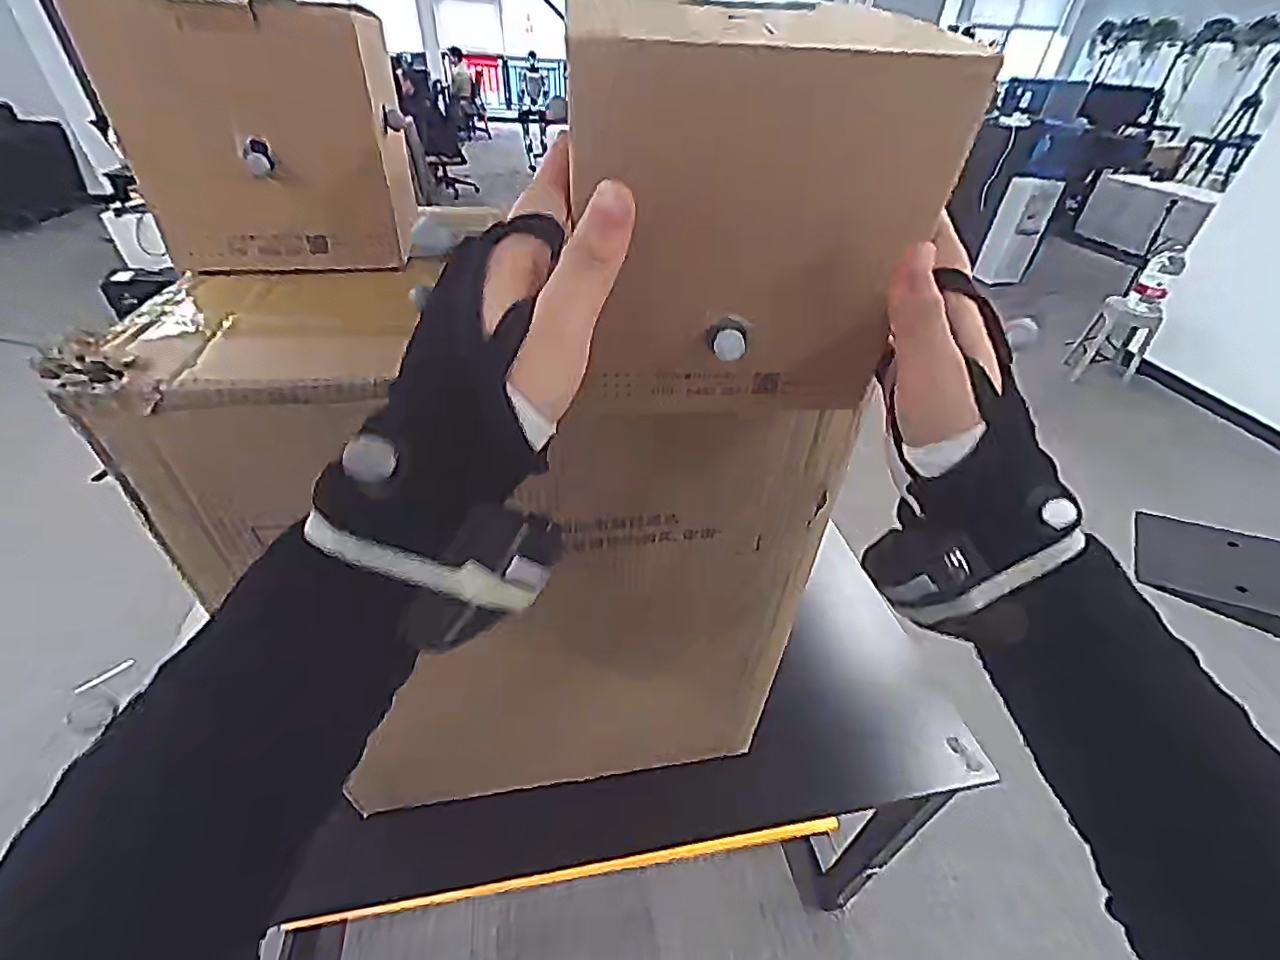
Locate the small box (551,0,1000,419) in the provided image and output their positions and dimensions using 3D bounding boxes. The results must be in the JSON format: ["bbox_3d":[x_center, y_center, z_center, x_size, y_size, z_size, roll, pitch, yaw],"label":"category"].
[{"bbox_3d":[0.041,-0.153,0.304,0.168,0.176,0.179,-2,47,-4],"label":"small box"}]

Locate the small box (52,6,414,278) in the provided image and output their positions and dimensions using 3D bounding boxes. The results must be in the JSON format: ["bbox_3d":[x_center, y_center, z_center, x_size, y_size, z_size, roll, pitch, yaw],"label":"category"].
[{"bbox_3d":[-0.294,-0.275,0.449,0.168,0.176,0.179,-7,40,-13],"label":"small box"}]
